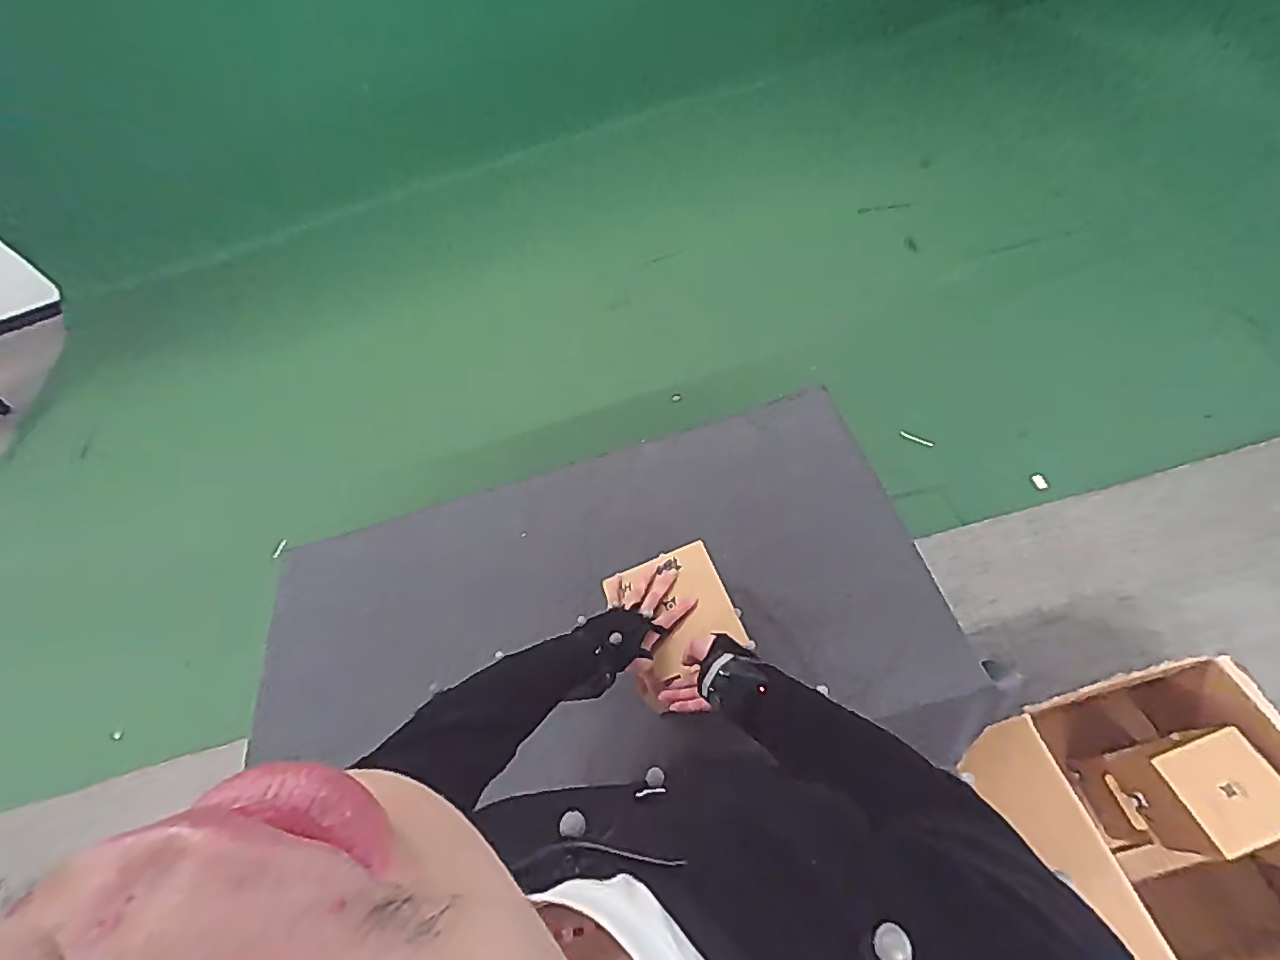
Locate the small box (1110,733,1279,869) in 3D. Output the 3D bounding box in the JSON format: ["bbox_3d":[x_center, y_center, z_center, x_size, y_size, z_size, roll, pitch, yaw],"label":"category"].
[{"bbox_3d":[1.058,0.595,1.016,0.179,0.176,0.168,-23,58,-1],"label":"small box"}]

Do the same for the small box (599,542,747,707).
[{"bbox_3d":[0.056,0.228,0.824,0.168,0.176,0.179,-22,56,-2],"label":"small box"}]
